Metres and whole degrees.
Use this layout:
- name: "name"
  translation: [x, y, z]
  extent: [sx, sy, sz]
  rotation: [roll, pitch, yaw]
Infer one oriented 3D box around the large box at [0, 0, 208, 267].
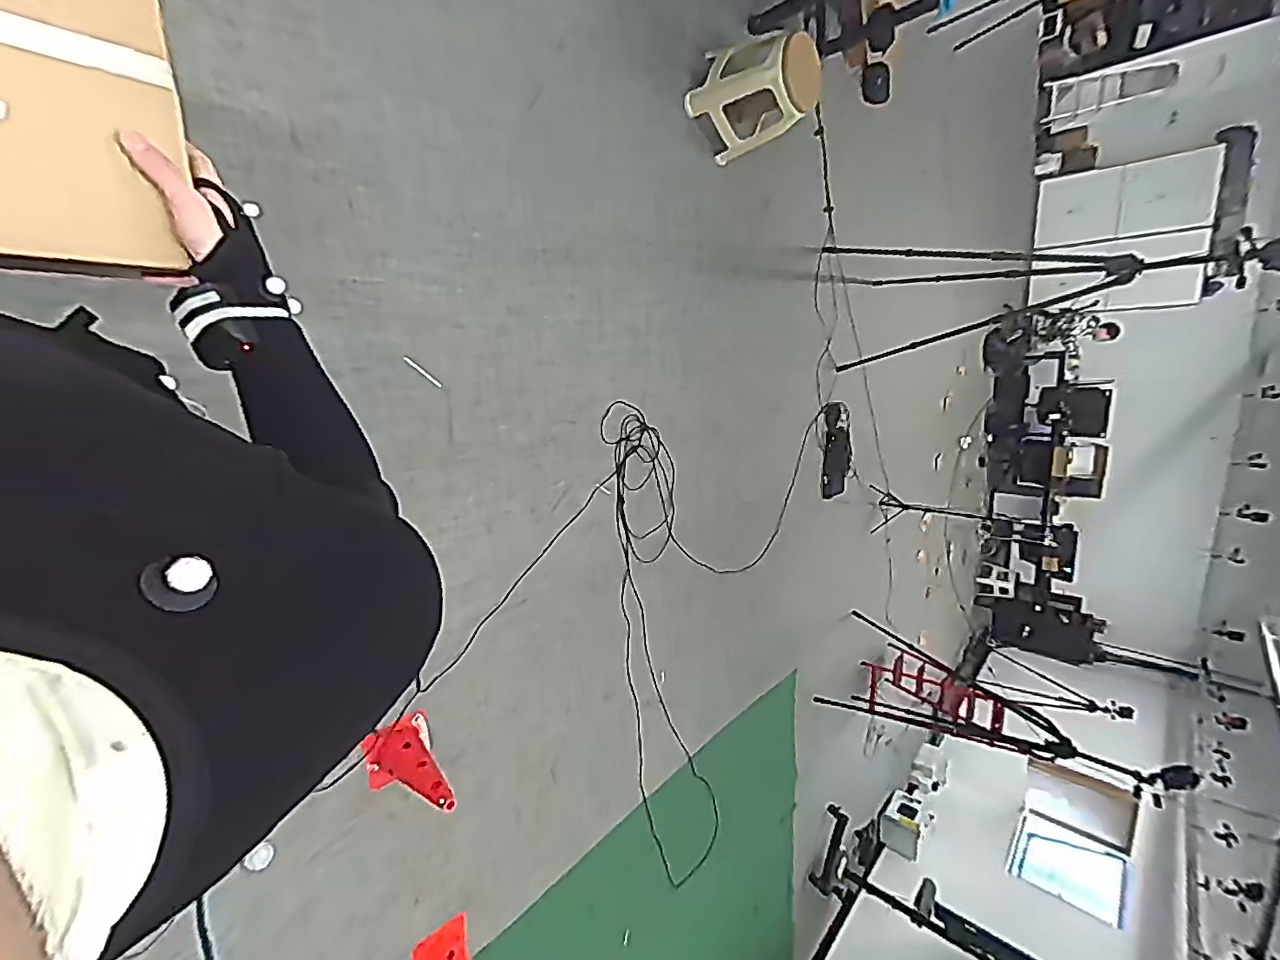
- name: "large box"
  translation: [-0.651, -0.352, 0.425]
  extent: [0.408, 0.320, 0.320]
  rotation: [-15, 115, -46]
